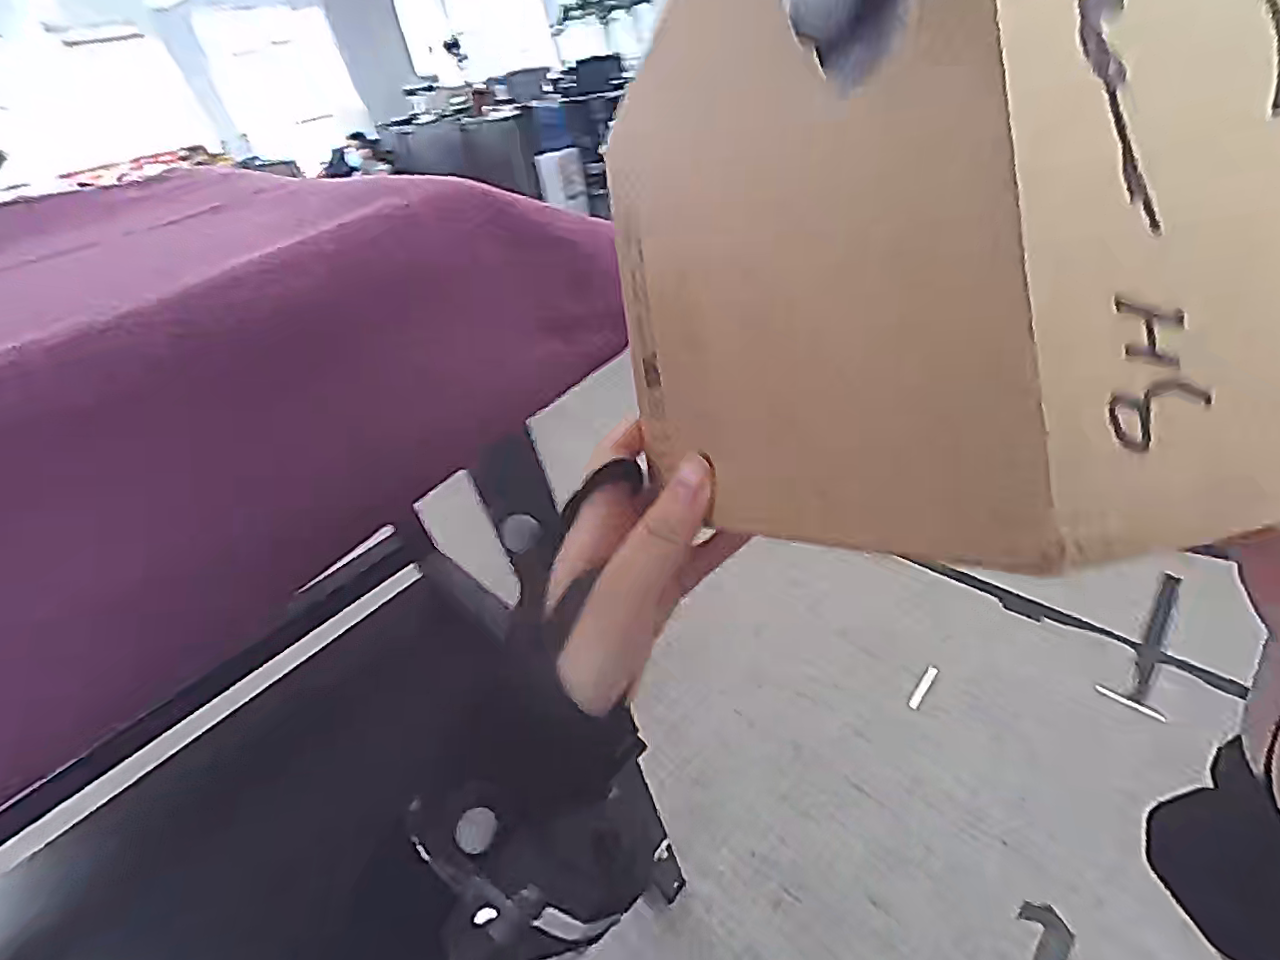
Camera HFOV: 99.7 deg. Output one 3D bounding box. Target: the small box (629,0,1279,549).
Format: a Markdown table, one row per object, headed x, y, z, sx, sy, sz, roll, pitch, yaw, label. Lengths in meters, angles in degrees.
| x | y | z | sx | sy | sz | roll | pitch | yaw | label |
| --- | --- | --- | --- | --- | --- | --- | --- | --- | --- |
| 0.111 | -0.077 | 0.180 | 0.179 | 0.168 | 0.176 | -7 | 0 | -19 | small box |
